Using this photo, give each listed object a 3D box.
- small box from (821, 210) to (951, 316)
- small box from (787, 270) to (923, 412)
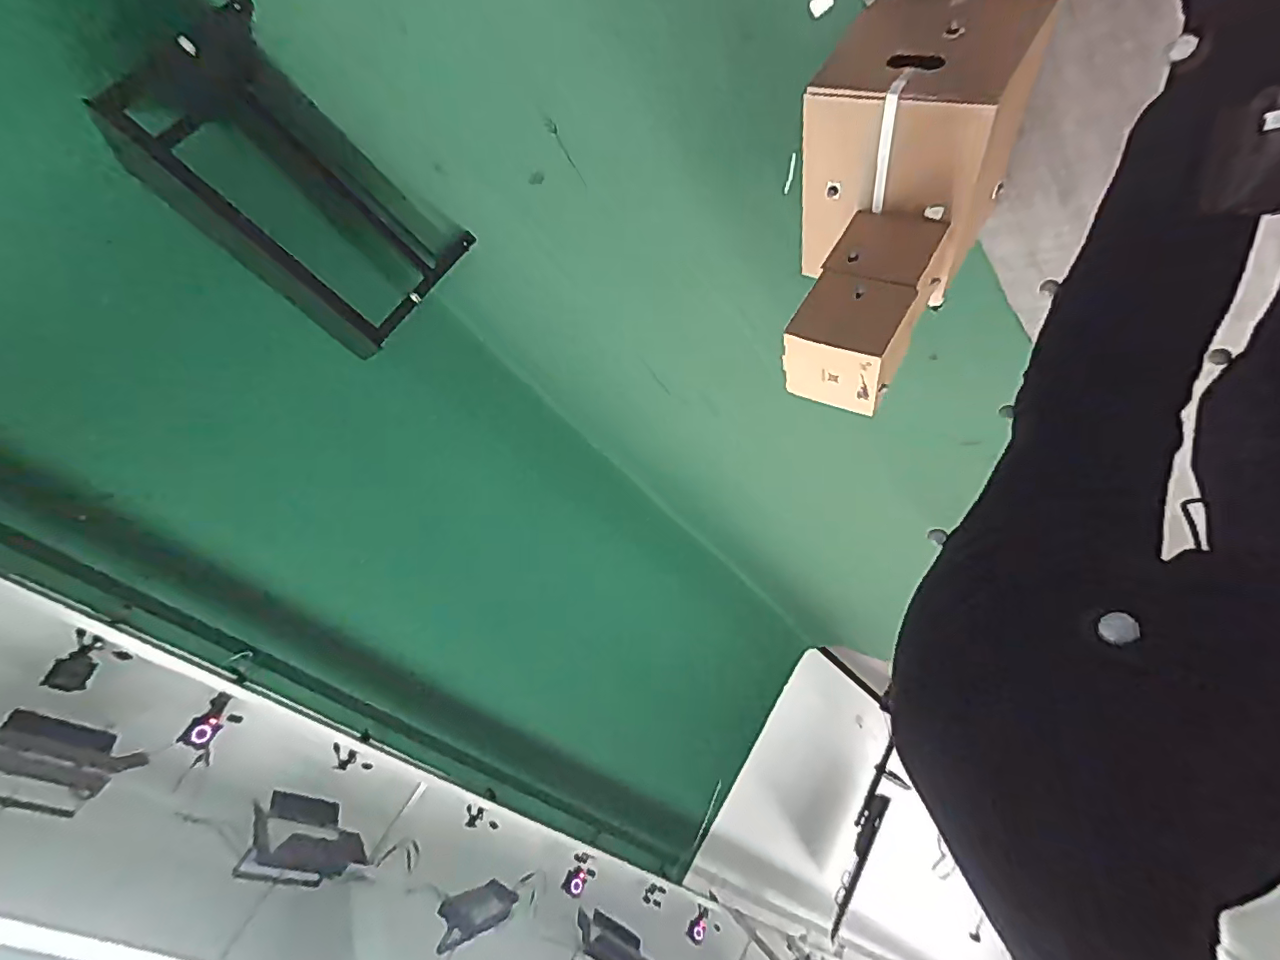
[{"bbox_3d":[0.470,-0.396,1.054,0.179,0.176,0.168,24,161,27],"label":"small box"},{"bbox_3d":[0.391,-0.262,1.002,0.179,0.176,0.168,25,161,28],"label":"small box"}]
